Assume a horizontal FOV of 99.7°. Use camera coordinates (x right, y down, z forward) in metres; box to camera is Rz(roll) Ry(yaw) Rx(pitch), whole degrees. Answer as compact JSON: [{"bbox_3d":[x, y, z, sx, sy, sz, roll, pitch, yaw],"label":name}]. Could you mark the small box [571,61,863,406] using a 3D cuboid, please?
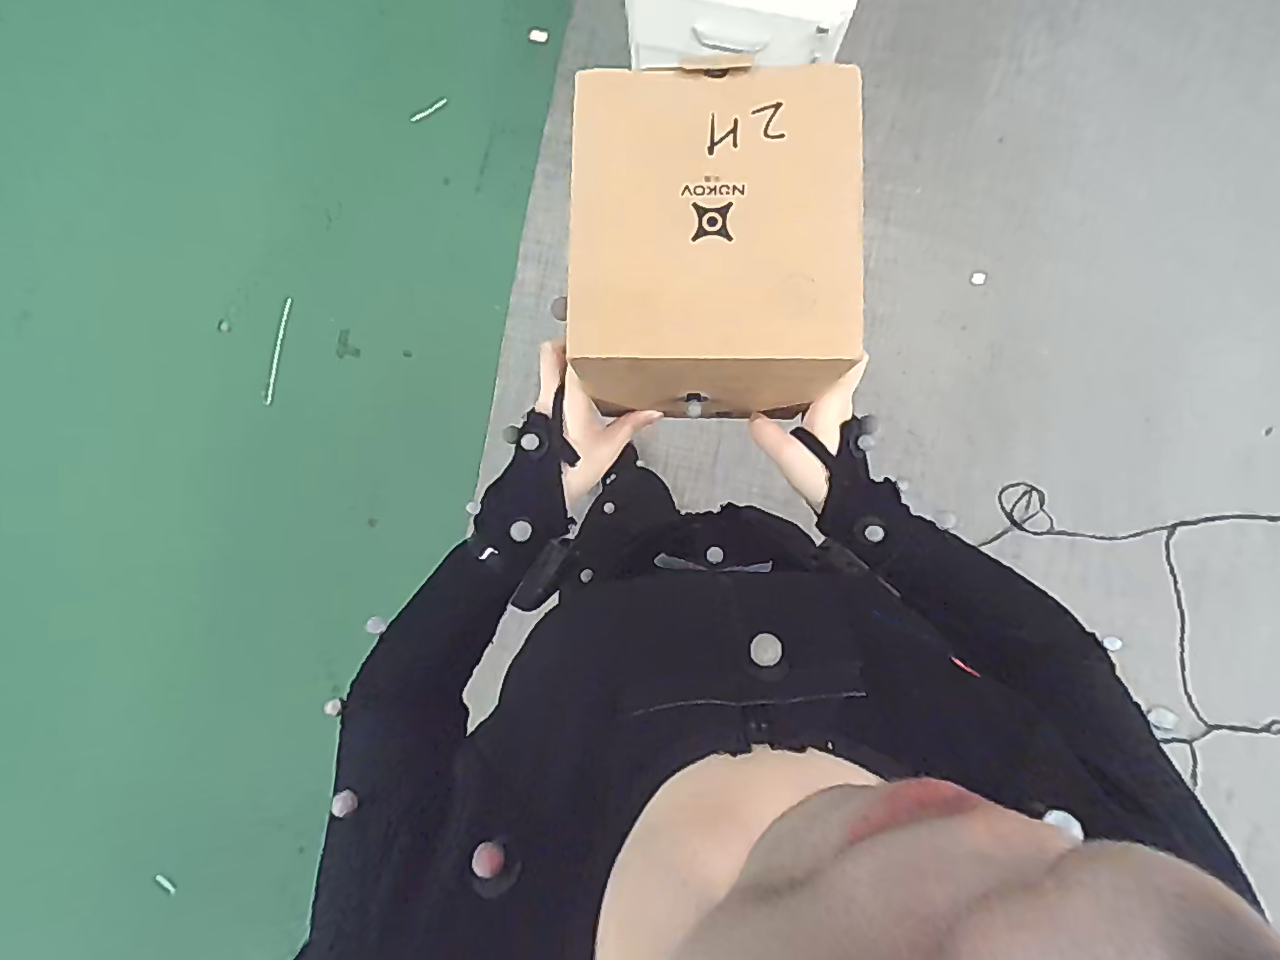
[{"bbox_3d":[0.049,-0.154,0.393,0.168,0.176,0.179,2,85,2],"label":"small box"}]
